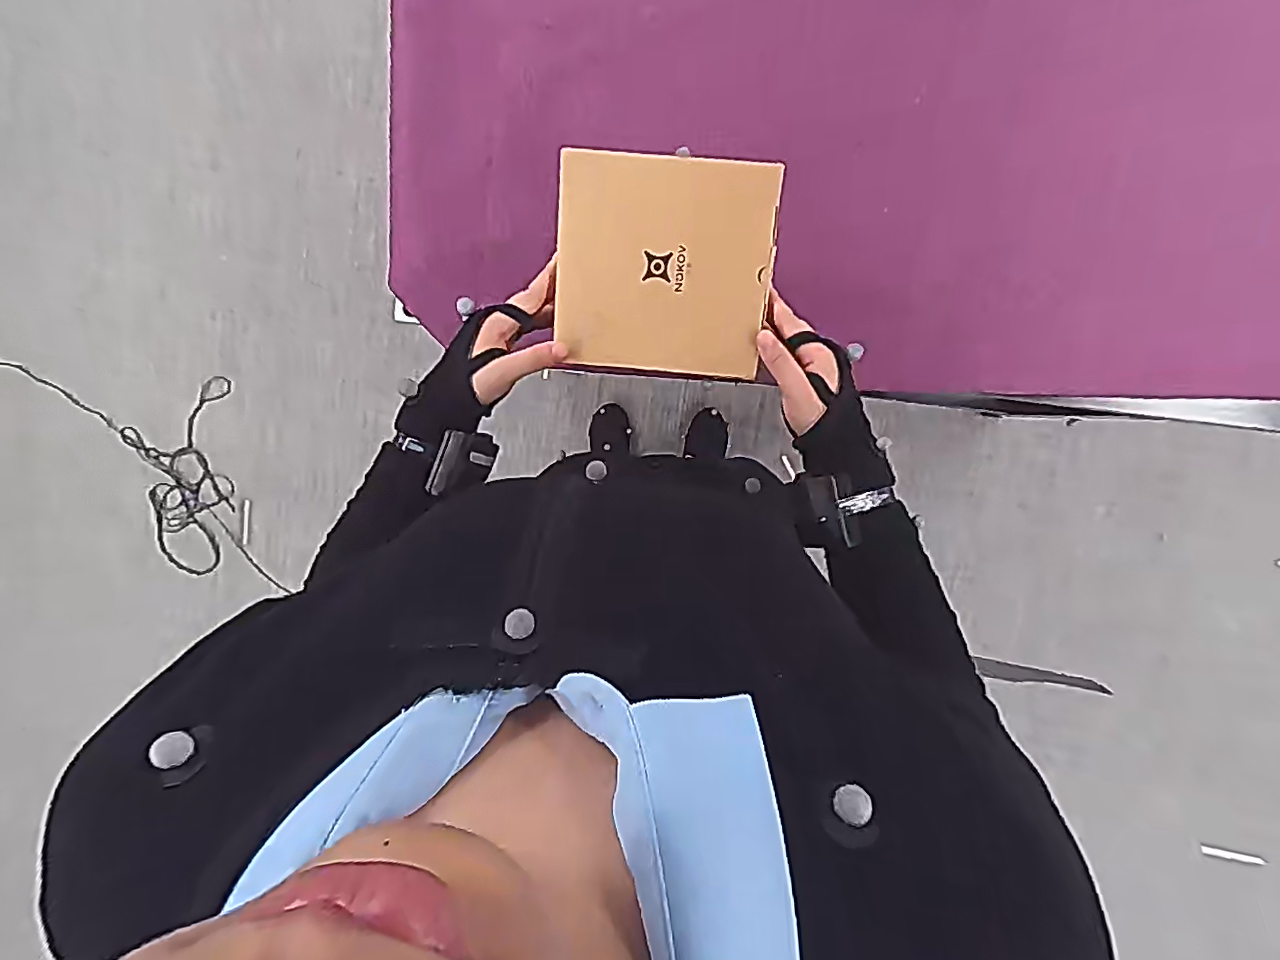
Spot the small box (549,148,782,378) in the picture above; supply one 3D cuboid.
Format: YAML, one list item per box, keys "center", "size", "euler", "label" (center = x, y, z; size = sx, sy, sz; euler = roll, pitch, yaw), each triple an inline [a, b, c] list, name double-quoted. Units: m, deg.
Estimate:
- center: [0.020, -0.188, 0.512]
  size: [0.179, 0.176, 0.168]
  euler: [5, 103, 1]
  label: "small box"
